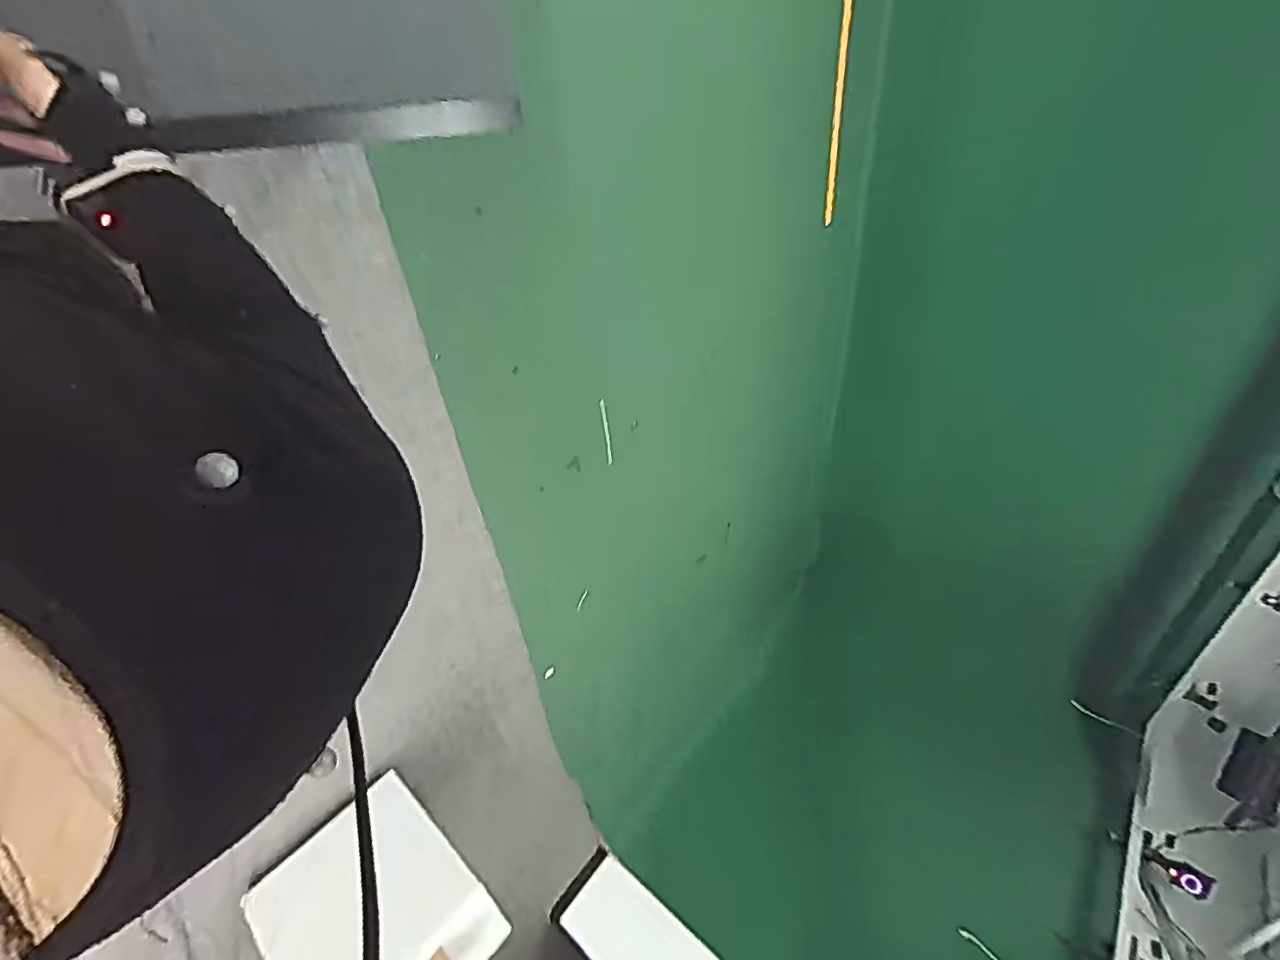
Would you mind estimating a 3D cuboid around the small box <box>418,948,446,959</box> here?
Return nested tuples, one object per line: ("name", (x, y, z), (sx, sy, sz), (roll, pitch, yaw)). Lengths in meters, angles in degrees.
("small box", (-0.583, 1.462, 1.502), (0.168, 0.176, 0.179), (-37, 136, -37))
